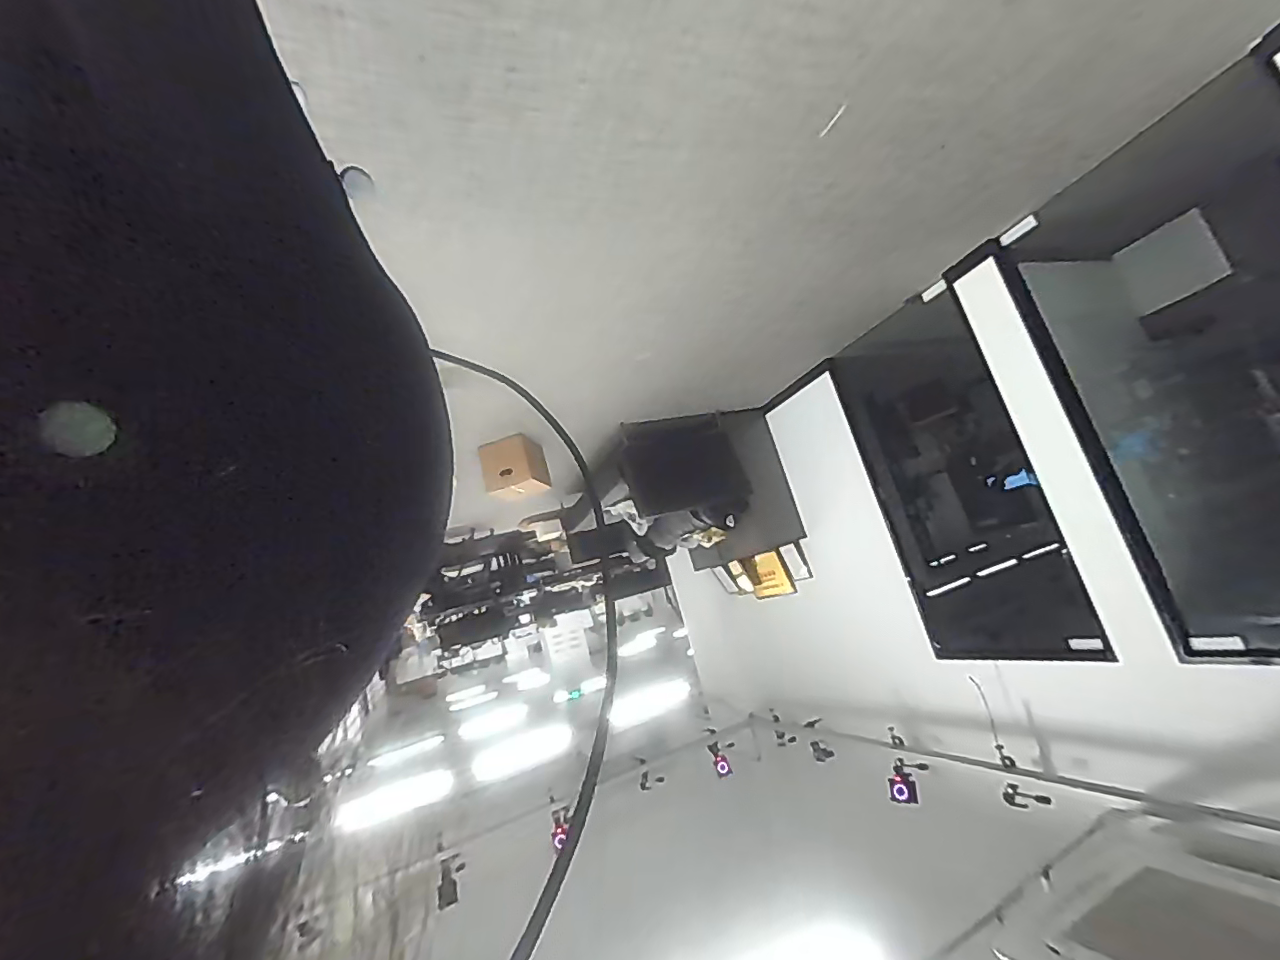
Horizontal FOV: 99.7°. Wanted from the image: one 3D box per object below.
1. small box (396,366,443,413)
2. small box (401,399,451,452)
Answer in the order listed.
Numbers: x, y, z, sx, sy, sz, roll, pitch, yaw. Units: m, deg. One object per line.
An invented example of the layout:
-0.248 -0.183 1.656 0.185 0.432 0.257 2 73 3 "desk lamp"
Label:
-0.982 -0.390 2.404 0.179 0.176 0.168 -11 169 -22 "small box"
-0.935 -0.239 2.364 0.179 0.176 0.168 -13 170 -20 "small box"
